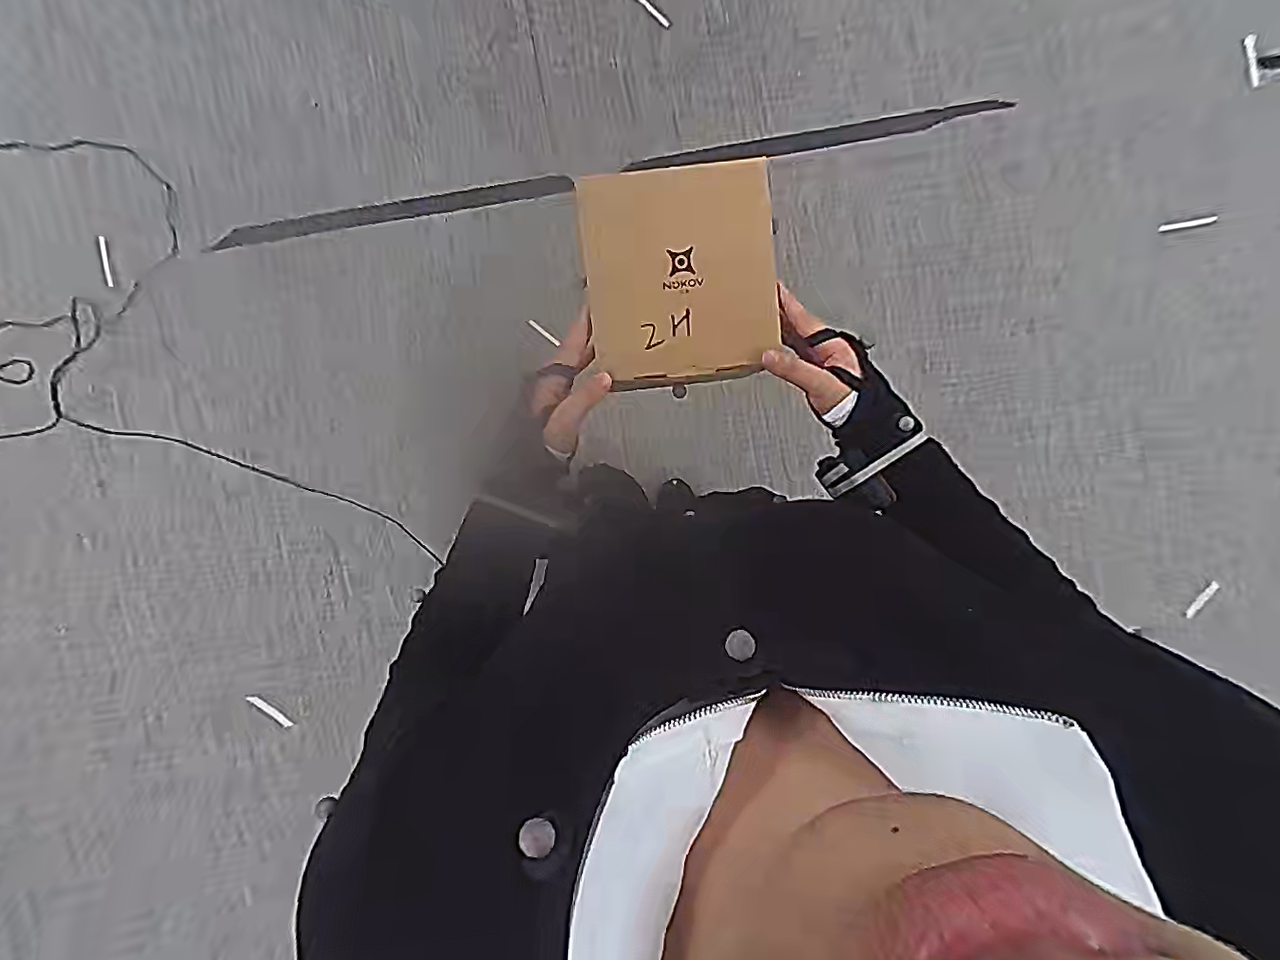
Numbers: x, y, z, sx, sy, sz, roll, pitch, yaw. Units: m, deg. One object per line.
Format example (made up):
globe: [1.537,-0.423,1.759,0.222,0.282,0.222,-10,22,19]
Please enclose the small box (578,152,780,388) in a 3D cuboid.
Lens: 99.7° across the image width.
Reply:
small box: [0.033,-0.193,0.545,0.168,0.176,0.179,-6,96,0]
